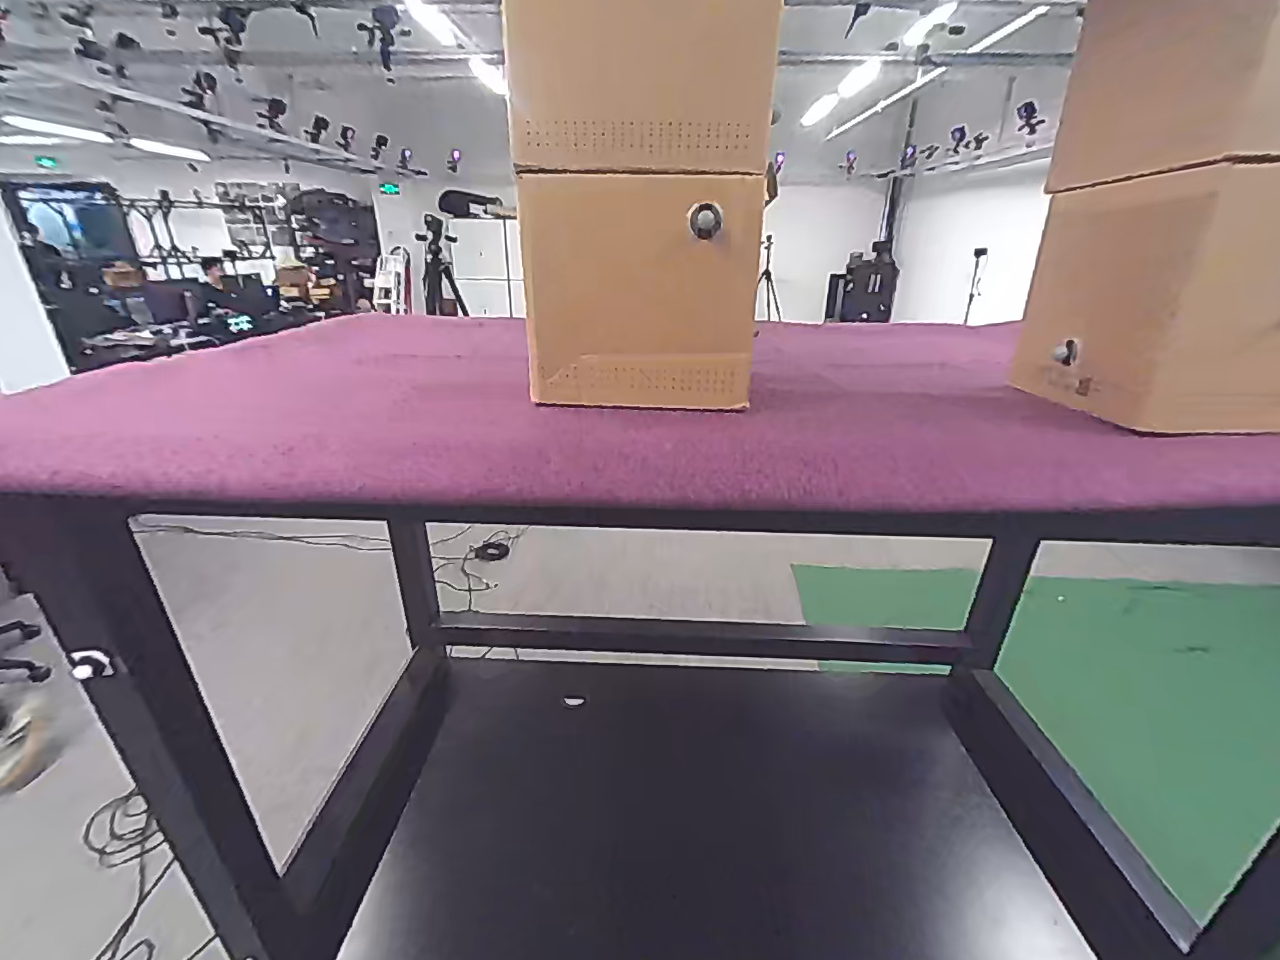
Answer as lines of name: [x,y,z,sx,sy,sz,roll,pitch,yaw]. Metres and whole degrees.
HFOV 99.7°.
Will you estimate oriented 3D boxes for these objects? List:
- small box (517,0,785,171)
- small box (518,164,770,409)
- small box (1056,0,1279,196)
small box: [0.010,-0.315,0.407,0.179,0.176,0.168,3,23,3]
small box: [0.007,-0.161,0.466,0.179,0.176,0.168,3,23,3]
small box: [0.424,-0.290,0.350,0.168,0.176,0.179,1,22,4]
